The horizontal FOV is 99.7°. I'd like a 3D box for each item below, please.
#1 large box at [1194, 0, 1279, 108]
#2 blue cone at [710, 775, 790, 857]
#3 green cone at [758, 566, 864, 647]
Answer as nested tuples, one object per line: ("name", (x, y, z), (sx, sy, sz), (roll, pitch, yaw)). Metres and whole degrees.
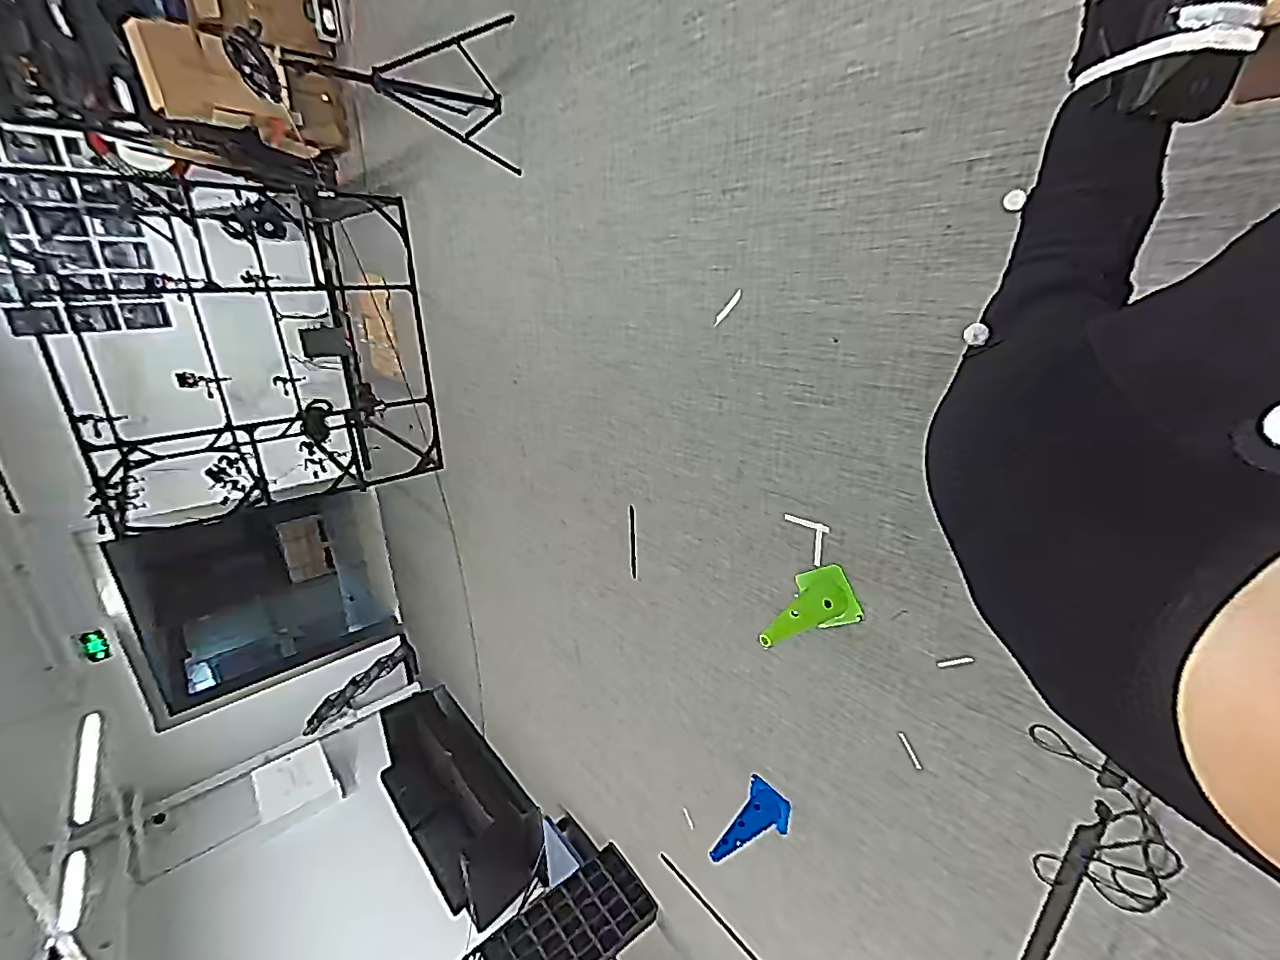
("large box", (0.592, -0.426, 0.254), (0.408, 0.320, 0.320), (19, 121, 45))
("blue cone", (0.440, 1.442, 2.251), (0.192, 0.380, 0.193), (27, 123, 45))
("green cone", (0.511, 0.437, 1.734), (0.202, 0.368, 0.200), (-36, 74, 53))
